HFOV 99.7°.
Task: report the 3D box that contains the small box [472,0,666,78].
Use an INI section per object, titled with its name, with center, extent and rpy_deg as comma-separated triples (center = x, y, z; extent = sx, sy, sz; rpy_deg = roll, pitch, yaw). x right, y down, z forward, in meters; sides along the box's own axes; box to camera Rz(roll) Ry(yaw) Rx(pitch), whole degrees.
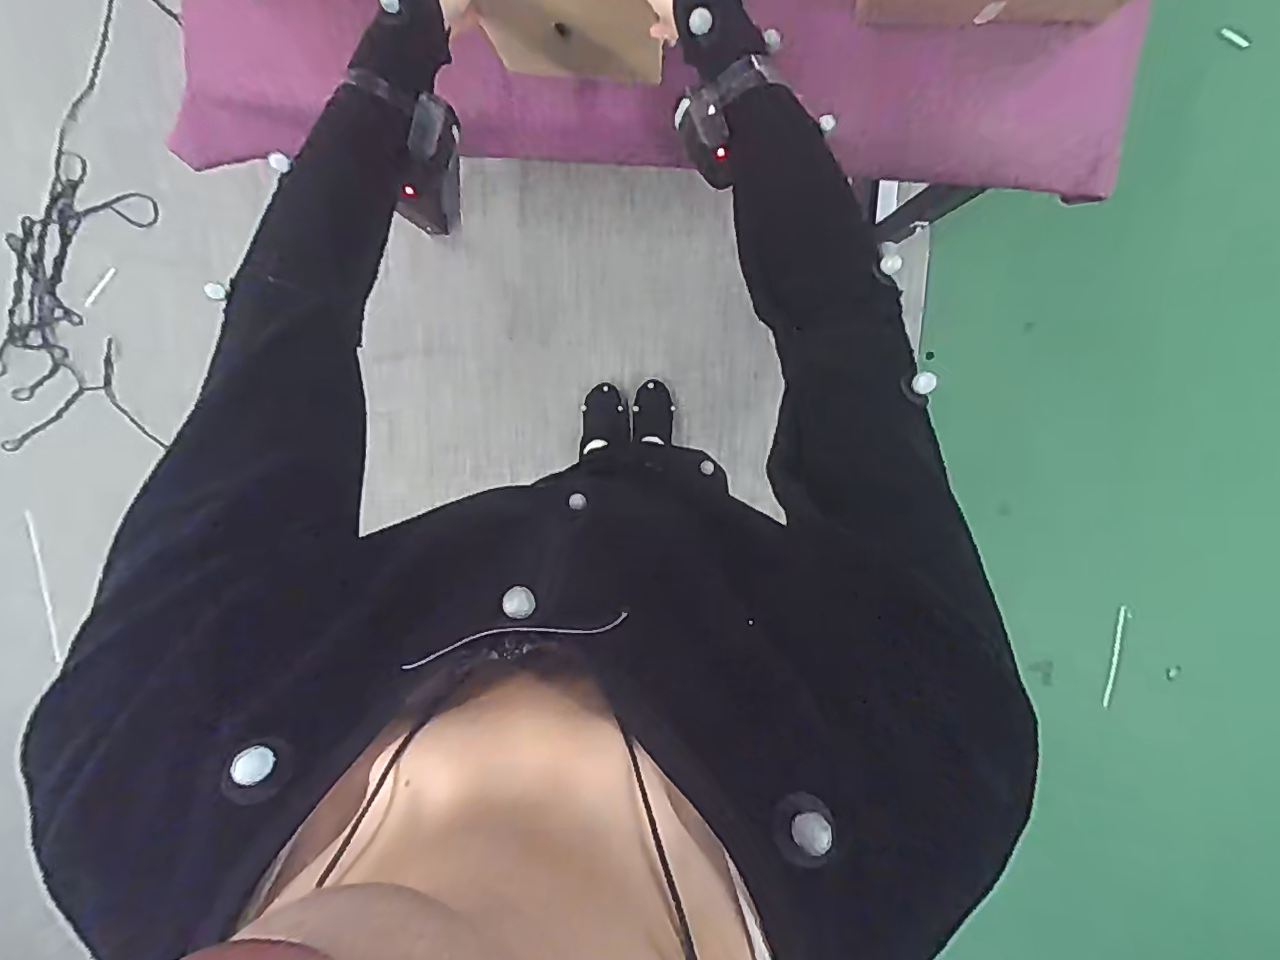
[small box]
center = -0.060, -0.518, 0.513
extent = 0.179, 0.176, 0.168
rpy_deg = 7, 102, 2
